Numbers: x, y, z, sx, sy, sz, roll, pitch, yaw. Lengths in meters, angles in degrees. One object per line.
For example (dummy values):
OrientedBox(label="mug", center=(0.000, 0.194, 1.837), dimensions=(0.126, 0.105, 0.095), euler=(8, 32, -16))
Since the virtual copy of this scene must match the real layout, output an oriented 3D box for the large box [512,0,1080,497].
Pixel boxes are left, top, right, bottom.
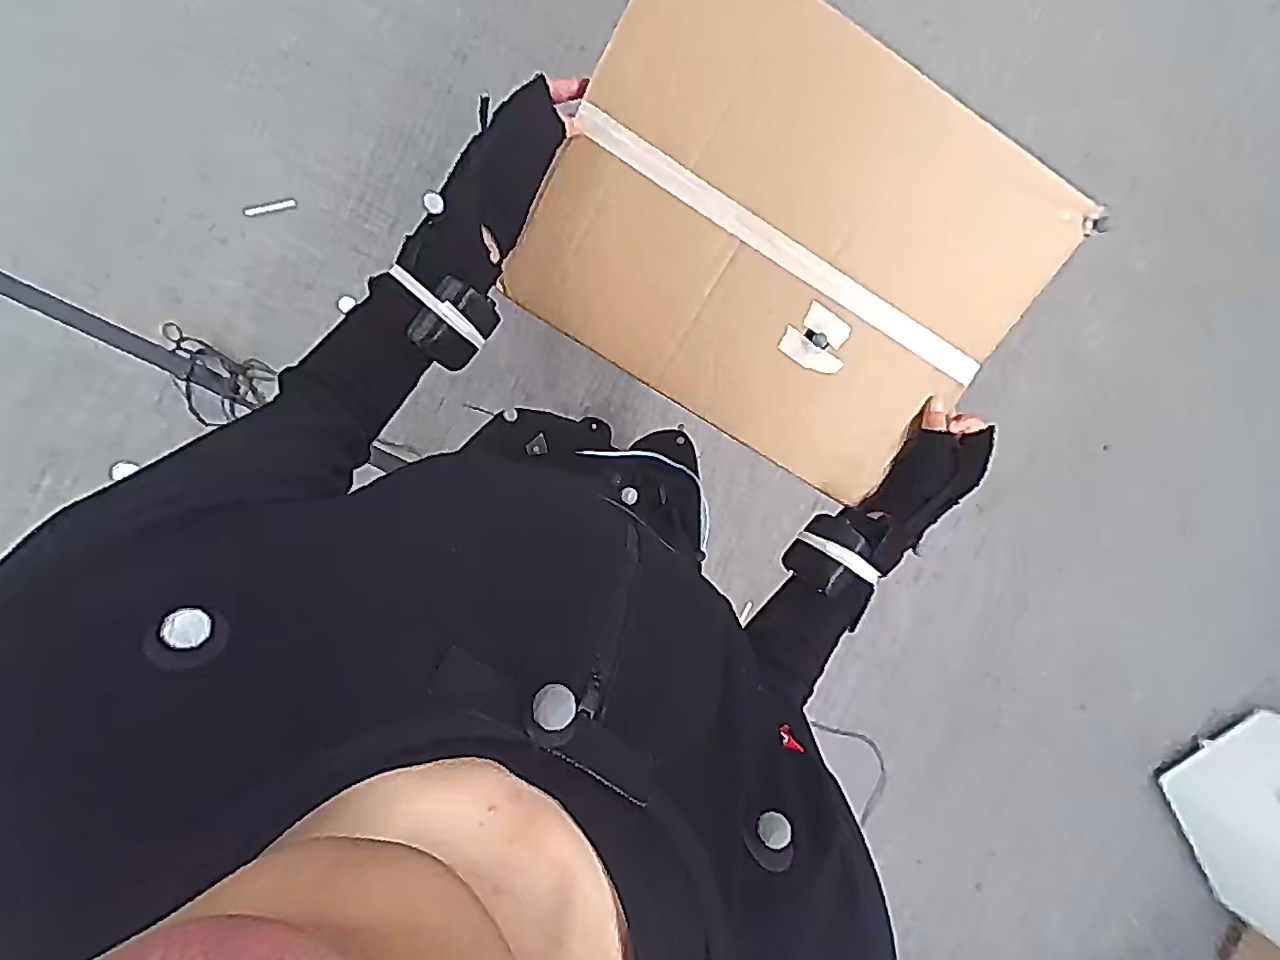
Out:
OrientedBox(label="large box", center=(0.131, -0.245, 0.614), dimensions=(0.408, 0.320, 0.320), euler=(31, 107, -8))
